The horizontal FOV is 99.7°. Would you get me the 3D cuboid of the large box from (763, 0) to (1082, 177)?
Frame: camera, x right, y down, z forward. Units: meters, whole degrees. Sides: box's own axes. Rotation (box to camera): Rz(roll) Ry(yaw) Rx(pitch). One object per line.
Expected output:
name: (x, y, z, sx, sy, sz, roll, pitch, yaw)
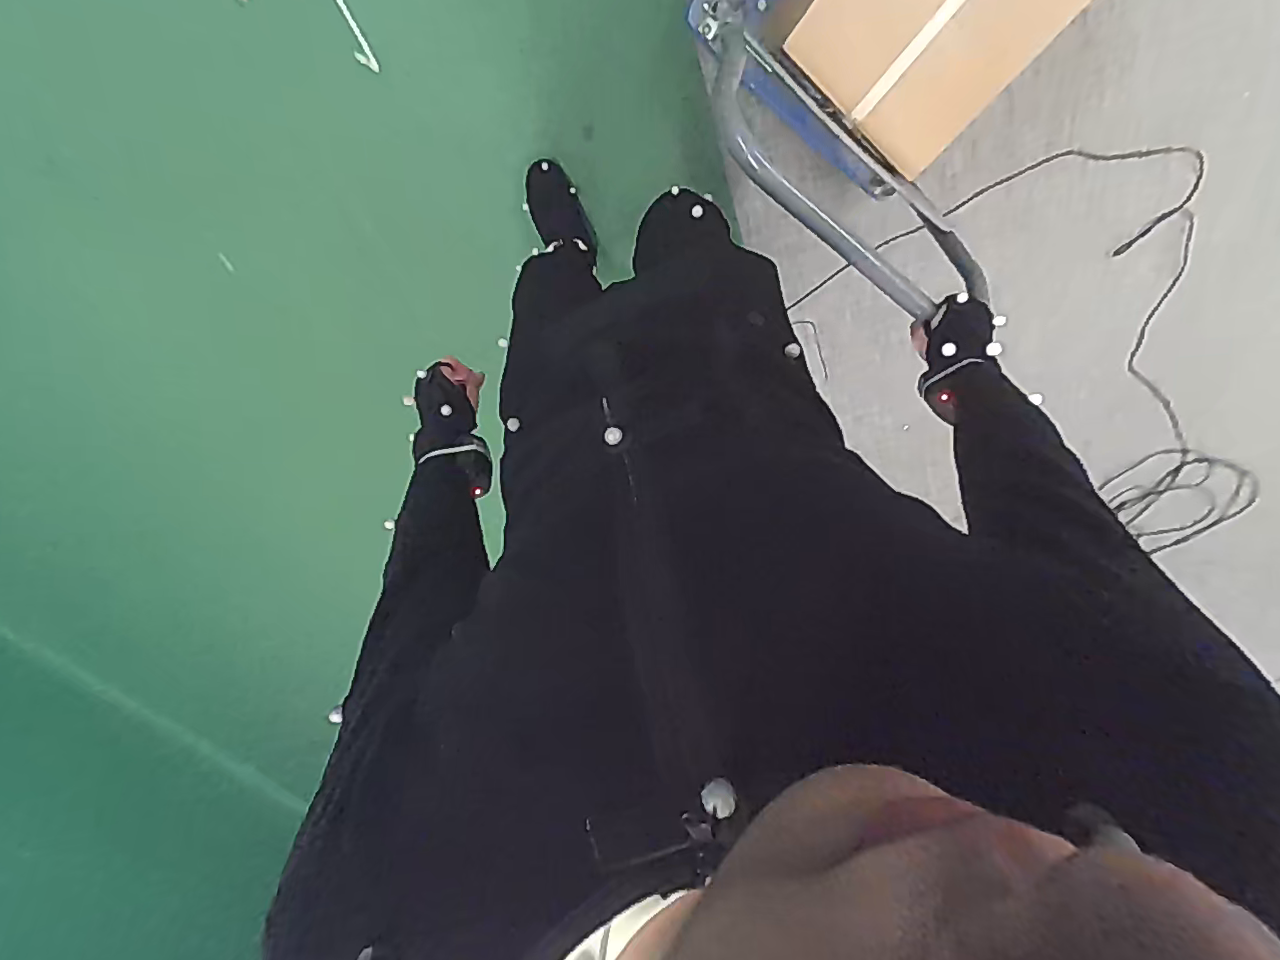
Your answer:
large box: (0.456, -0.793, 0.861, 0.320, 0.320, 0.408, 29, 128, -22)
